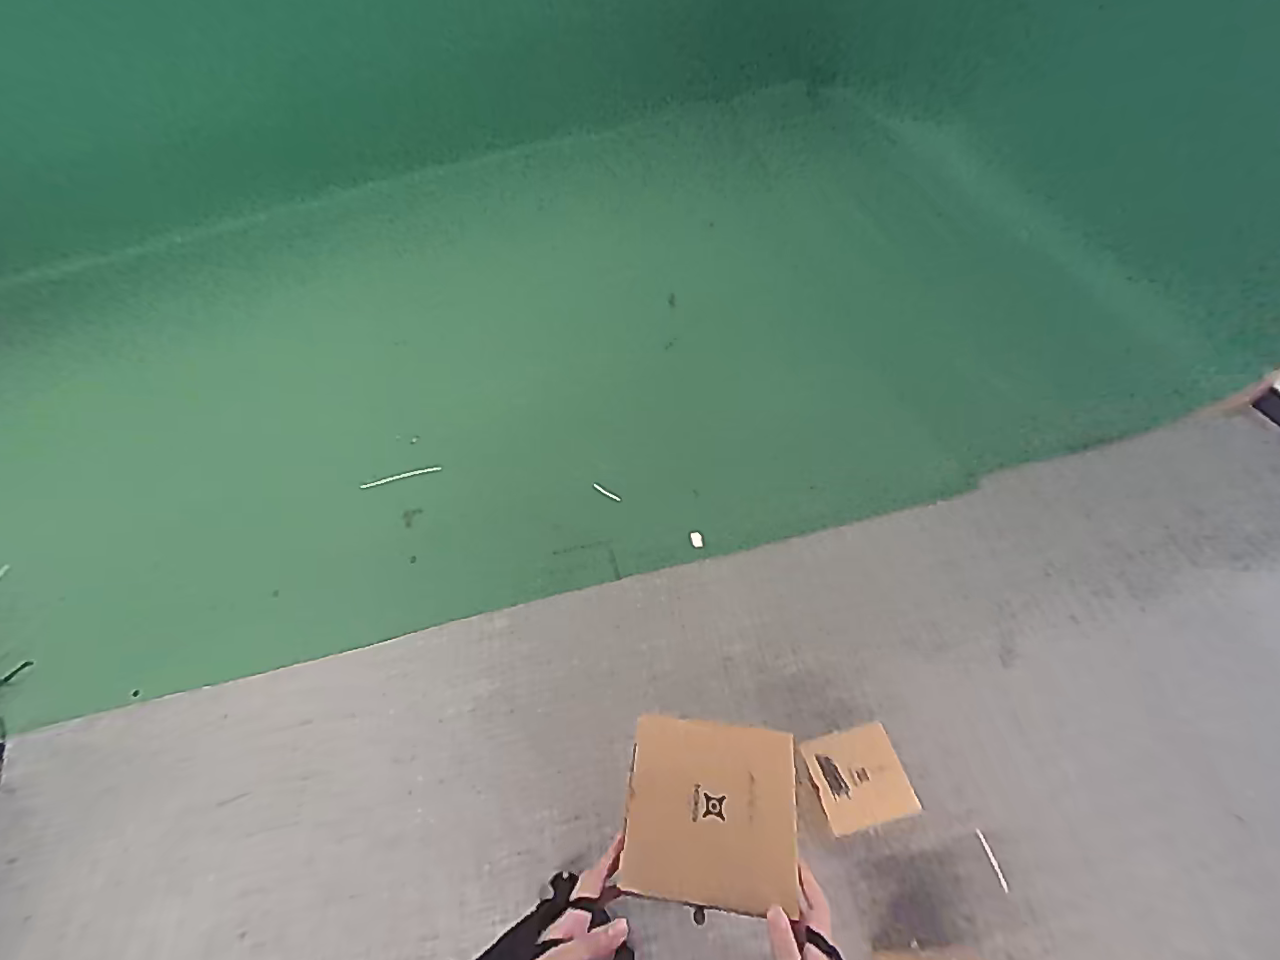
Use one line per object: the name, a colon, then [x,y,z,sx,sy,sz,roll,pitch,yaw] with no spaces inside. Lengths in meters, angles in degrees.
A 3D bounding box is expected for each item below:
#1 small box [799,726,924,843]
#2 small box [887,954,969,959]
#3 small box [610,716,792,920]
small box: [0.437,0.627,1.107,0.179,0.176,0.168,-16,55,-2]
small box: [0.569,1.014,1.014,0.179,0.176,0.168,-9,55,6]
small box: [0.072,0.390,0.622,0.179,0.176,0.168,4,52,7]
